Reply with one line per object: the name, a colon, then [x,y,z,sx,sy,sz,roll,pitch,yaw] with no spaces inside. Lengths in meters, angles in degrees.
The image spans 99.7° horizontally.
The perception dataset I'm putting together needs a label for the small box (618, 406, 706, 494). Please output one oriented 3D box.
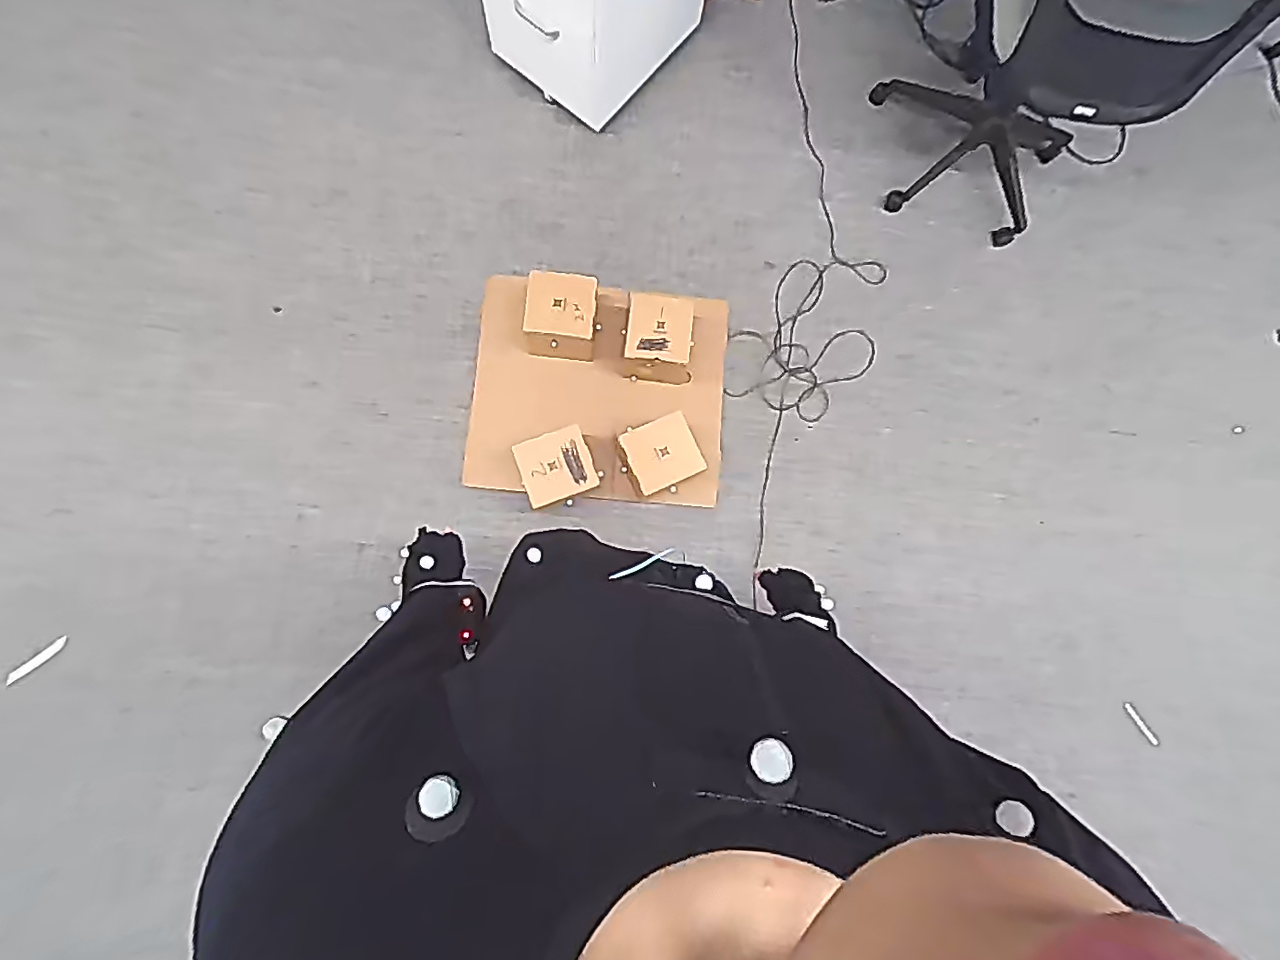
small box: [0.051,-0.074,1.429,0.179,0.176,0.168,-24,85,-6]
